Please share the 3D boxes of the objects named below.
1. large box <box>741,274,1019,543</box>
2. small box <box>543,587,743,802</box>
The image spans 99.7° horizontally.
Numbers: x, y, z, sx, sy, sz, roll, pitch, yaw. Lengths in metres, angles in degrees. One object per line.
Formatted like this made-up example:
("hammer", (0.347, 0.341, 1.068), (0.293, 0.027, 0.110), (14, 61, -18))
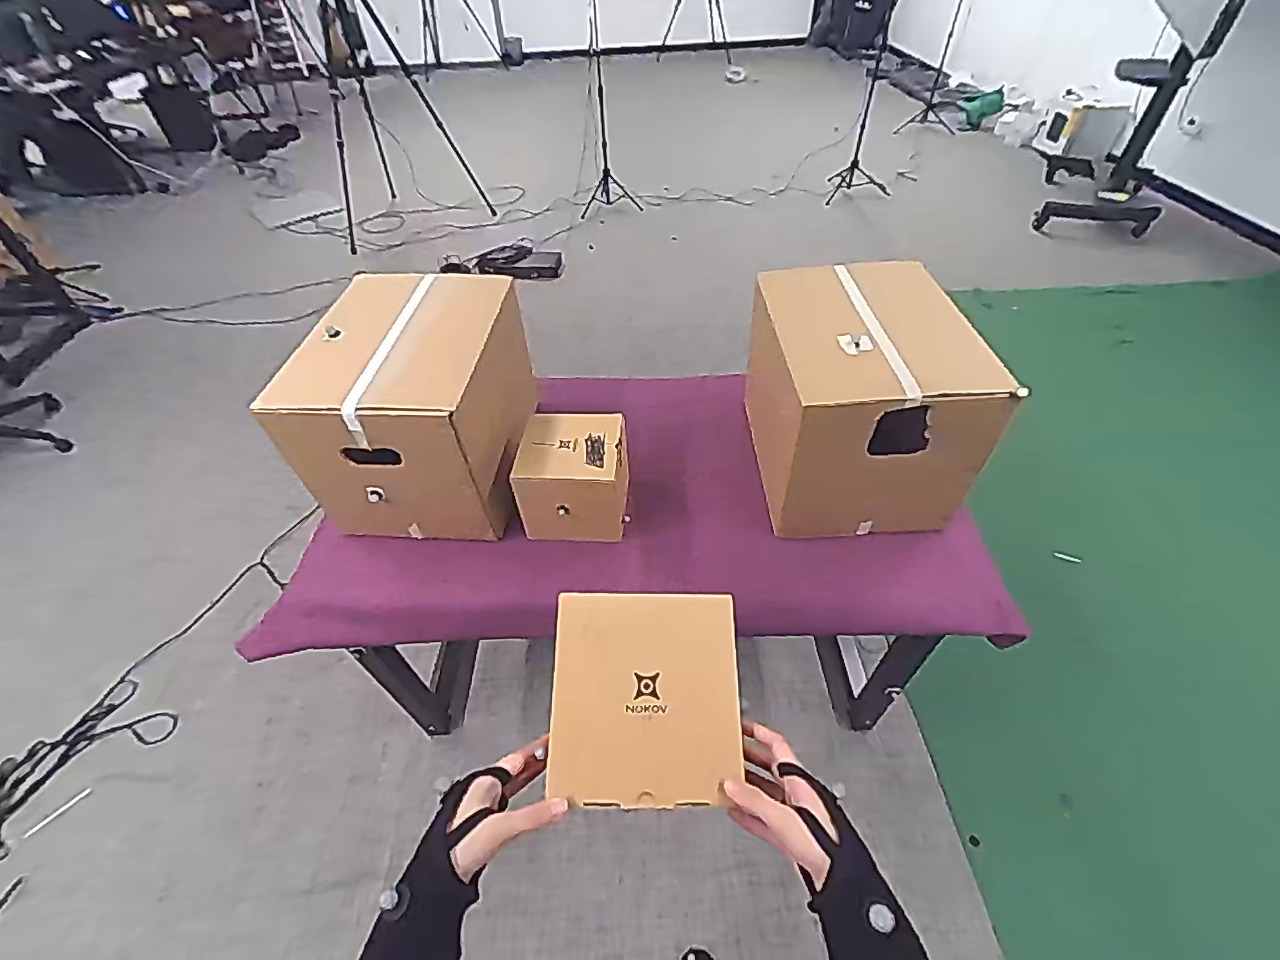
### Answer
("large box", (0.382, -0.138, 1.004), (0.320, 0.320, 0.408), (-4, 47, 2))
("small box", (-0.001, 0.217, 0.544), (0.168, 0.176, 0.179), (2, 63, -3))
